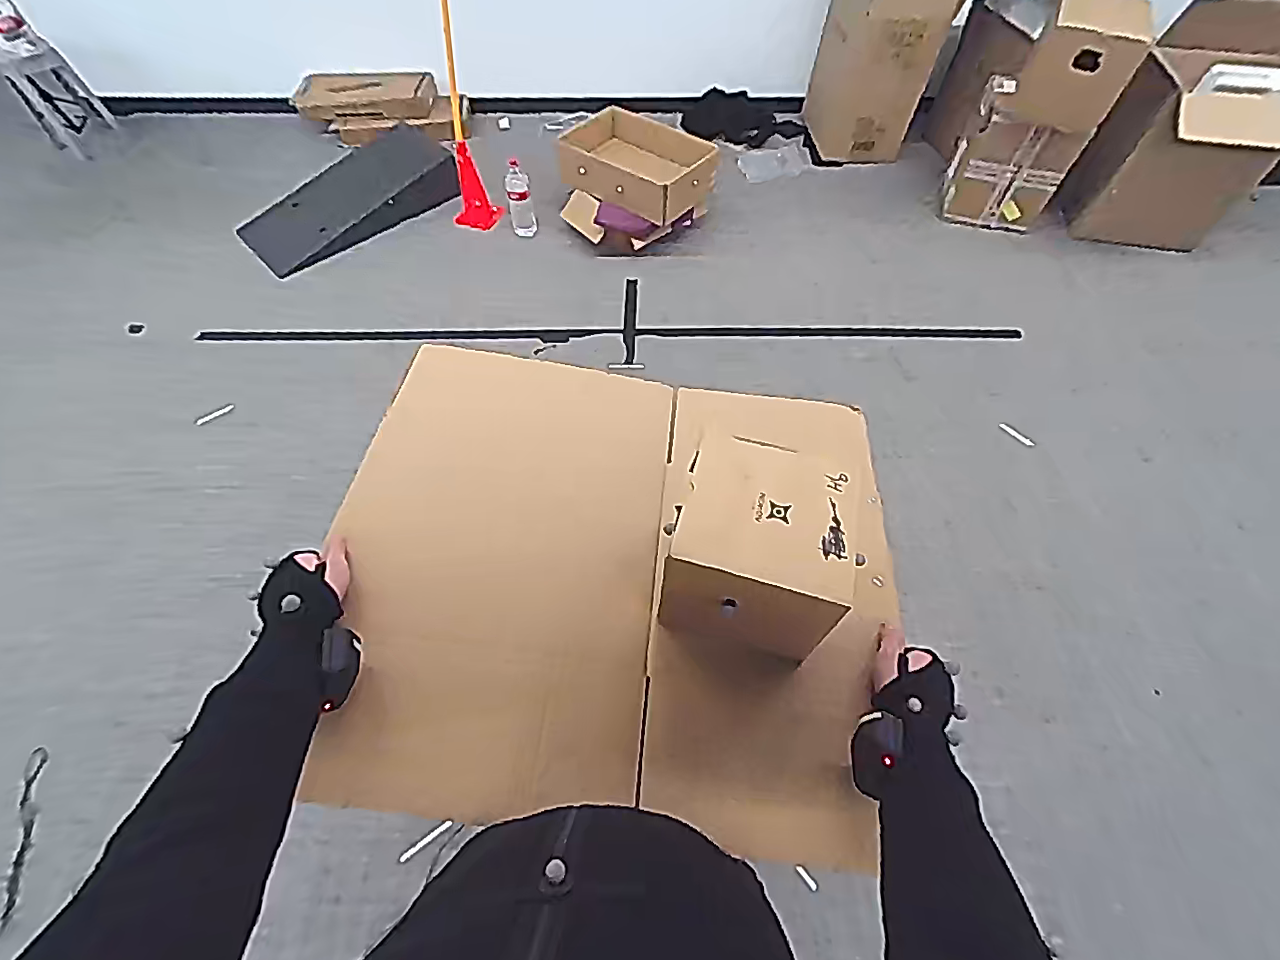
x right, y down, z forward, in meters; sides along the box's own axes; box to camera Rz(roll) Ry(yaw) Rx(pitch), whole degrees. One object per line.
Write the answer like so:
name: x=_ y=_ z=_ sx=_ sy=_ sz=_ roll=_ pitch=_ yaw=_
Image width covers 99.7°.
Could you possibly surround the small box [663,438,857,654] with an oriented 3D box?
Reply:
small box: x=0.128 y=0.080 z=0.617 sx=0.179 sy=0.176 sz=0.168 roll=14 pitch=56 yaw=9
